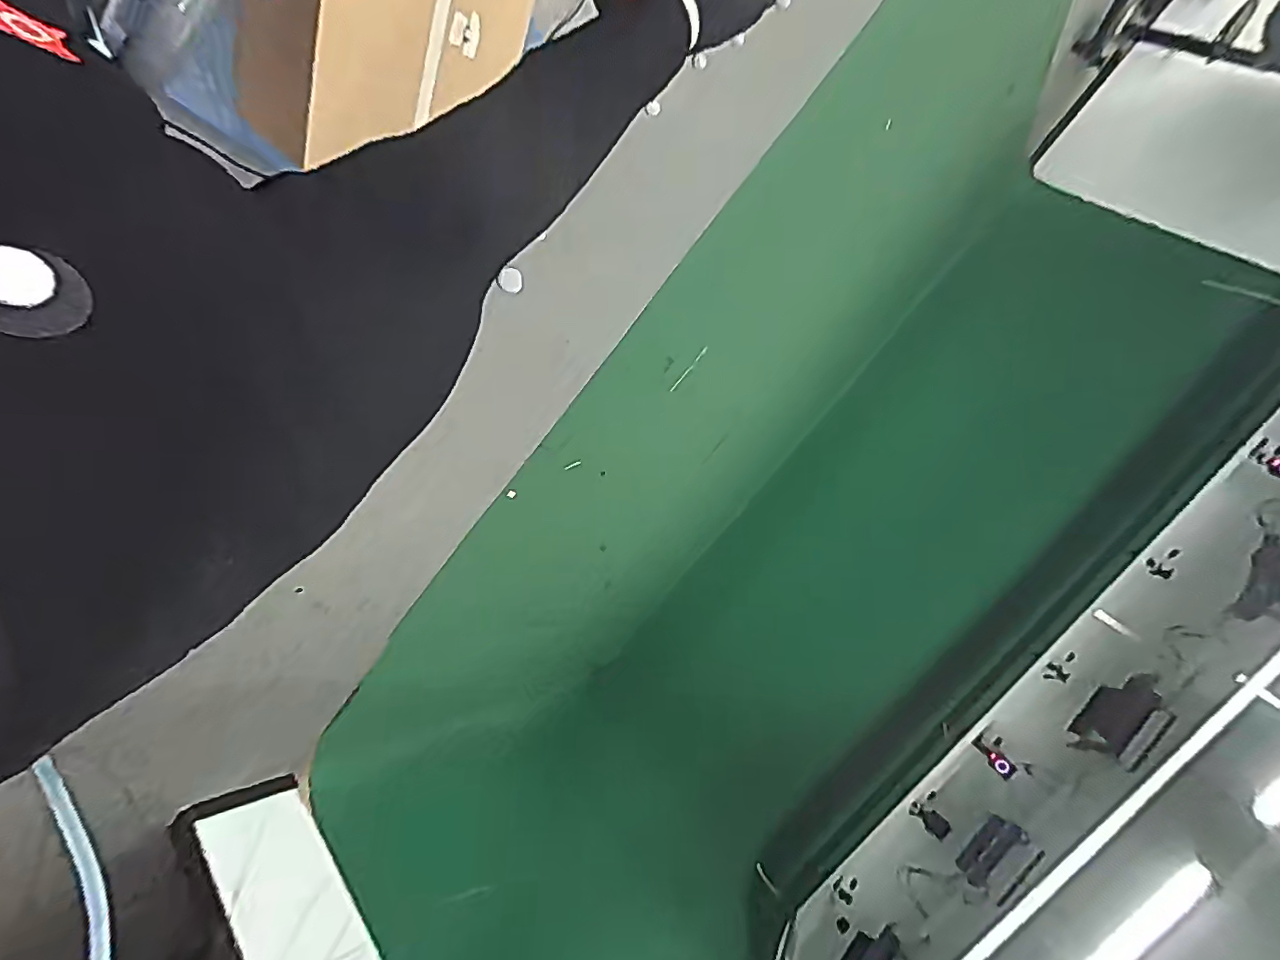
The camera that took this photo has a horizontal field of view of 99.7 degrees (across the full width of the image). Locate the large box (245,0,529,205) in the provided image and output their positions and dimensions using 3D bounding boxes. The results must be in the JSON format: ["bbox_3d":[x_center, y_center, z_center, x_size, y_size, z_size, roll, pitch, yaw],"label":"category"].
[{"bbox_3d":[-0.431,-0.754,0.910,0.320,0.320,0.408,-13,137,-50],"label":"large box"}]
